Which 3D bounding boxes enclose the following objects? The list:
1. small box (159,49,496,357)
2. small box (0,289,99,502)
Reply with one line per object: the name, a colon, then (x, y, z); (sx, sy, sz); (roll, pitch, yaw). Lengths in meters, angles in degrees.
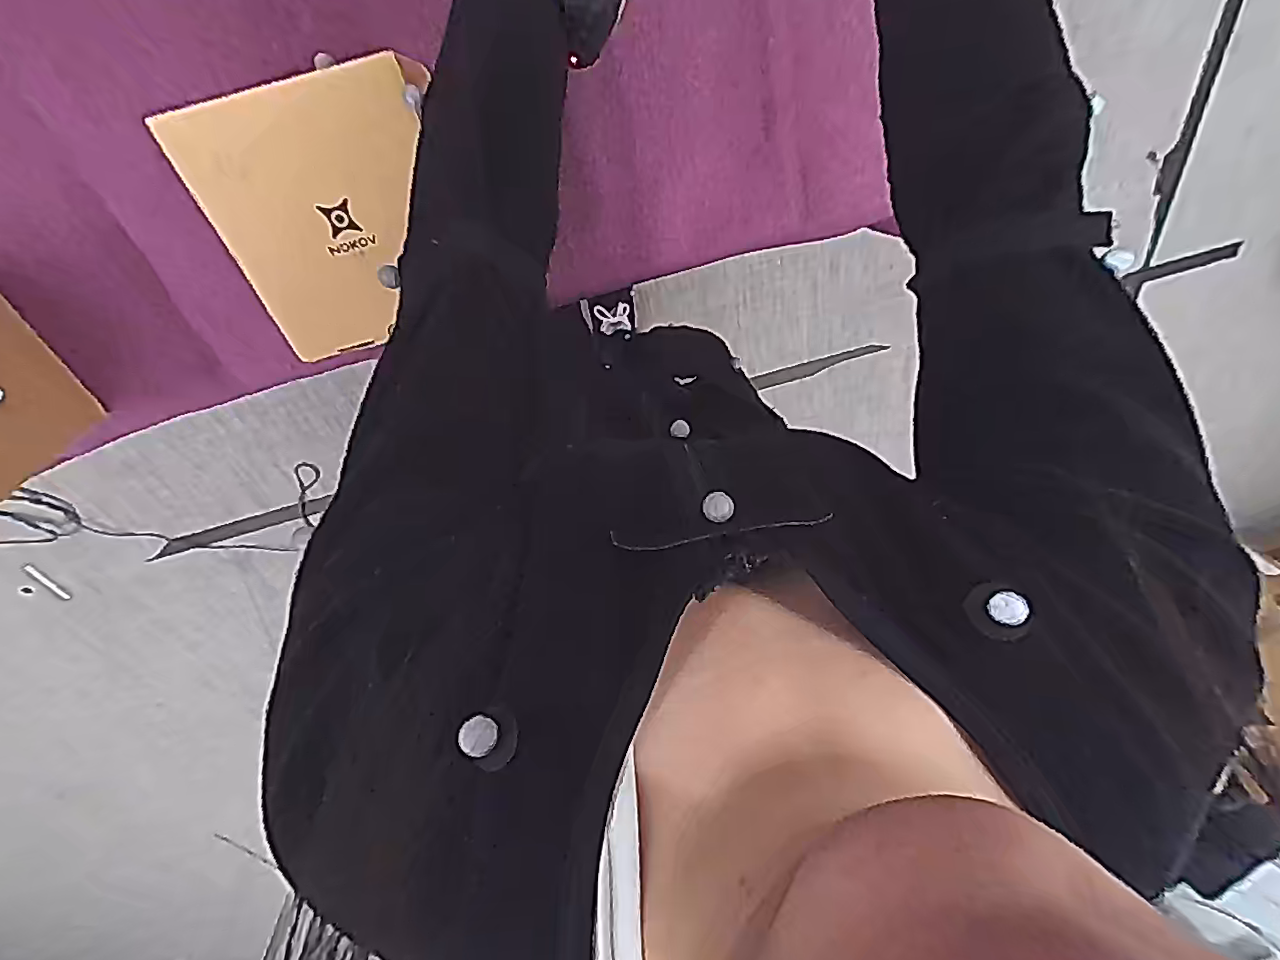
small box: (-0.234, -0.236, 0.465); (0.168, 0.176, 0.179); (-17, 127, -2)
small box: (-0.653, -0.075, 0.470); (0.168, 0.176, 0.179); (-16, 128, -4)
